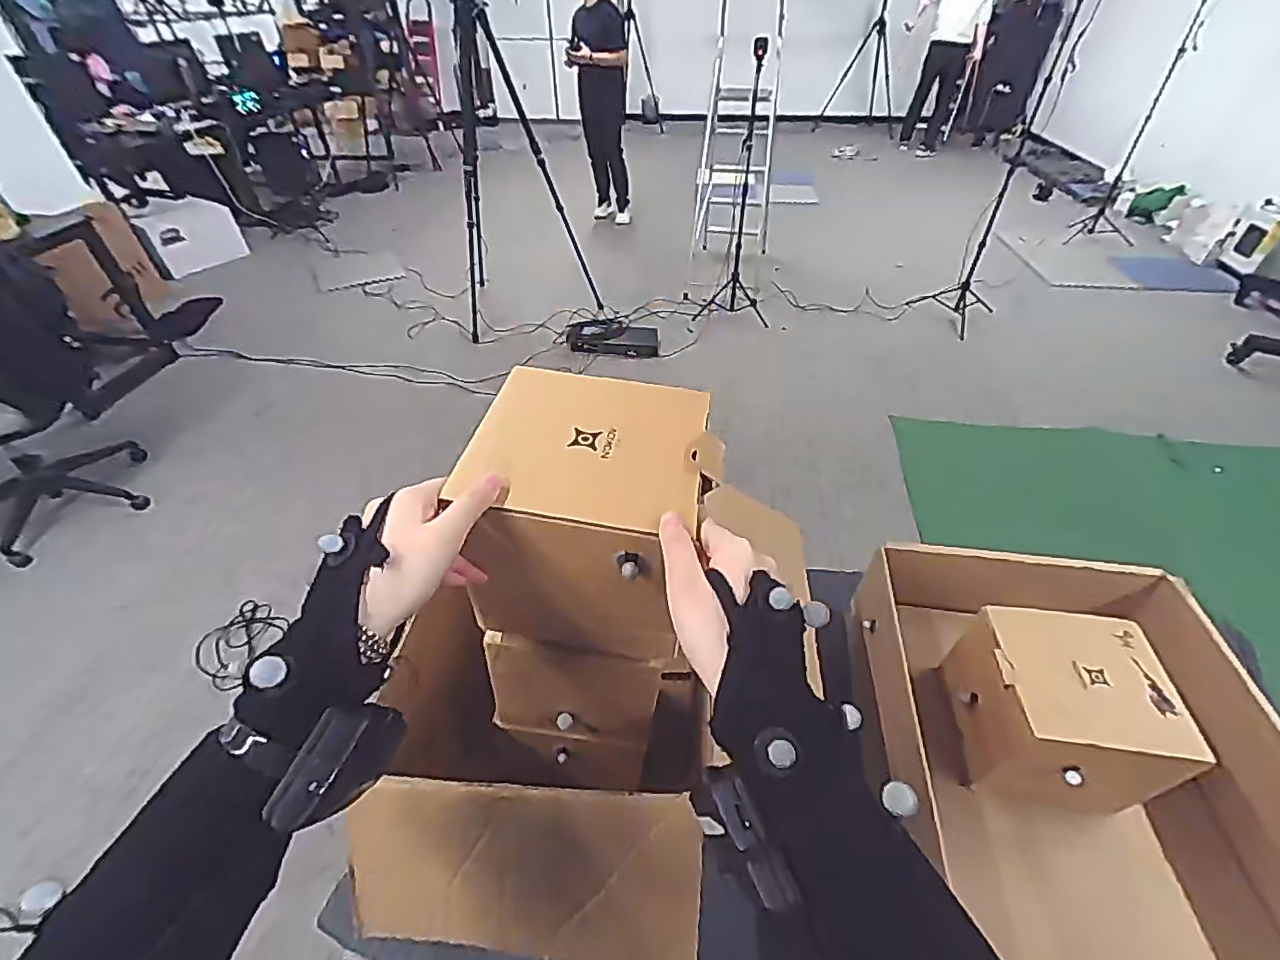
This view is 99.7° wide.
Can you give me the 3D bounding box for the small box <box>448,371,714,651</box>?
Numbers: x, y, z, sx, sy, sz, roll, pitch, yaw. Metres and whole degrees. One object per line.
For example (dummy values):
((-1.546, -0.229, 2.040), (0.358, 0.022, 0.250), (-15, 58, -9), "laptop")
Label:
((-0.039, 0.029, 0.473), (0.179, 0.176, 0.168), (9, 46, 3), "small box")
